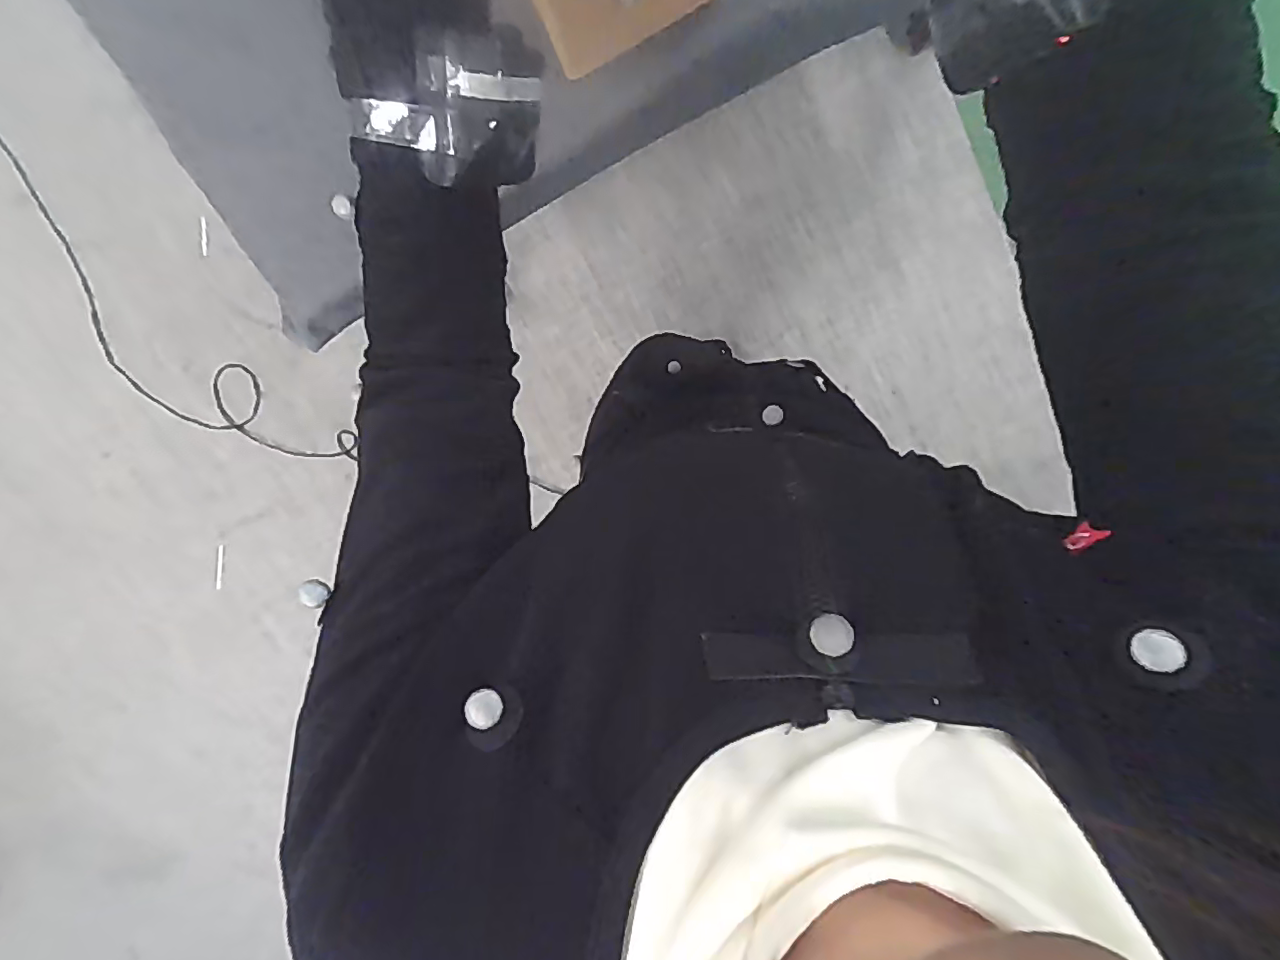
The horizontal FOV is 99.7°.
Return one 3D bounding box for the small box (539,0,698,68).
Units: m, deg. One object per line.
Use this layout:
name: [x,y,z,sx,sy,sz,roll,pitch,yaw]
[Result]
small box: [-0.035,-0.518,0.474,0.179,0.176,0.168,-25,101,9]
